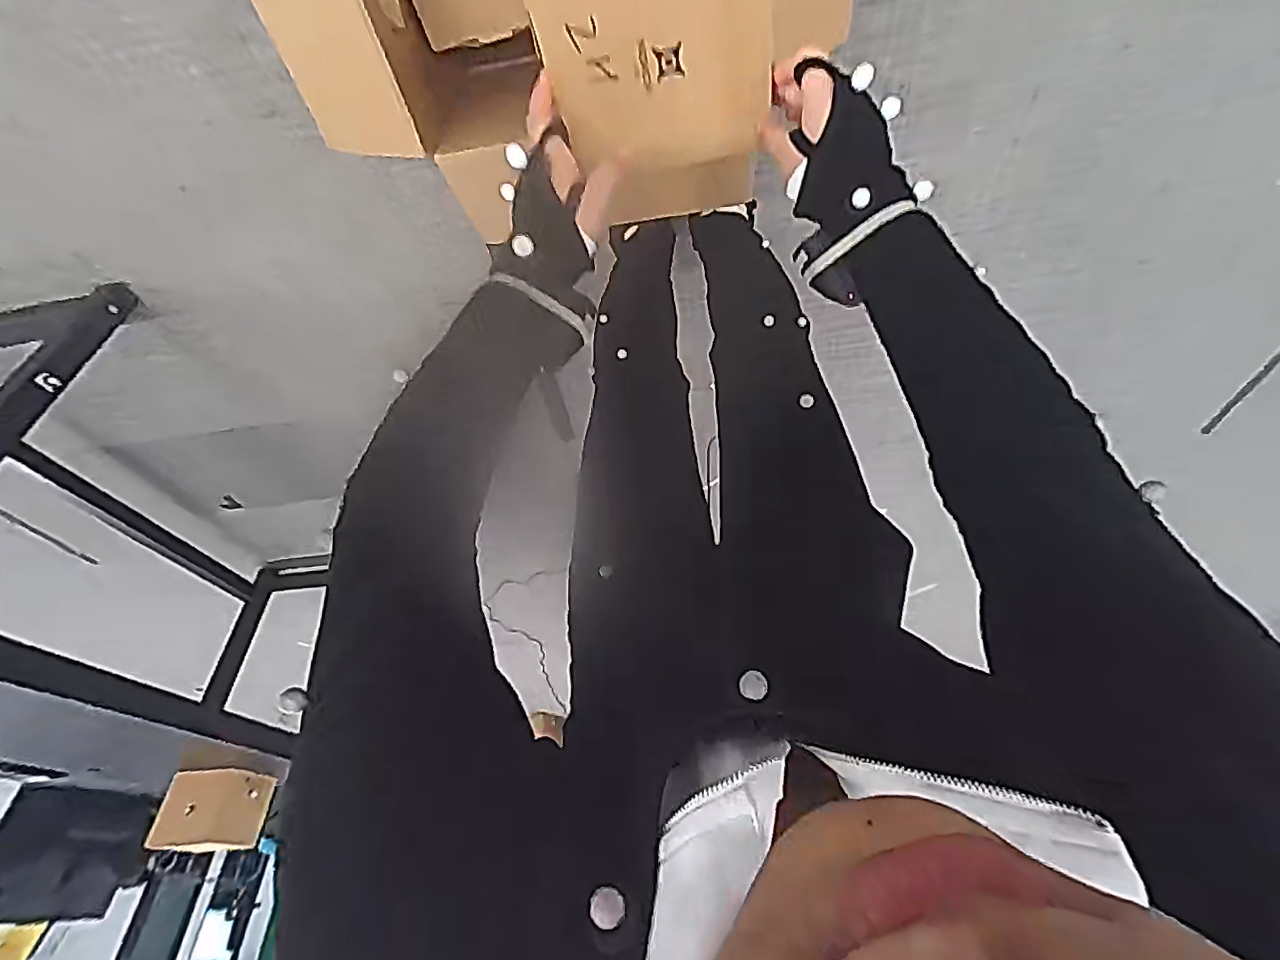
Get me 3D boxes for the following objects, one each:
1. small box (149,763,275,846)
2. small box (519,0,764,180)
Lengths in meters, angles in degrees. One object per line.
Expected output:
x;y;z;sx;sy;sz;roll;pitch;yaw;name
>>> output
-1.126;0.865;1.441;0.179;0.176;0.168;-8;143;7;small box
0.005;-0.397;0.460;0.179;0.176;0.168;-6;150;9;small box
